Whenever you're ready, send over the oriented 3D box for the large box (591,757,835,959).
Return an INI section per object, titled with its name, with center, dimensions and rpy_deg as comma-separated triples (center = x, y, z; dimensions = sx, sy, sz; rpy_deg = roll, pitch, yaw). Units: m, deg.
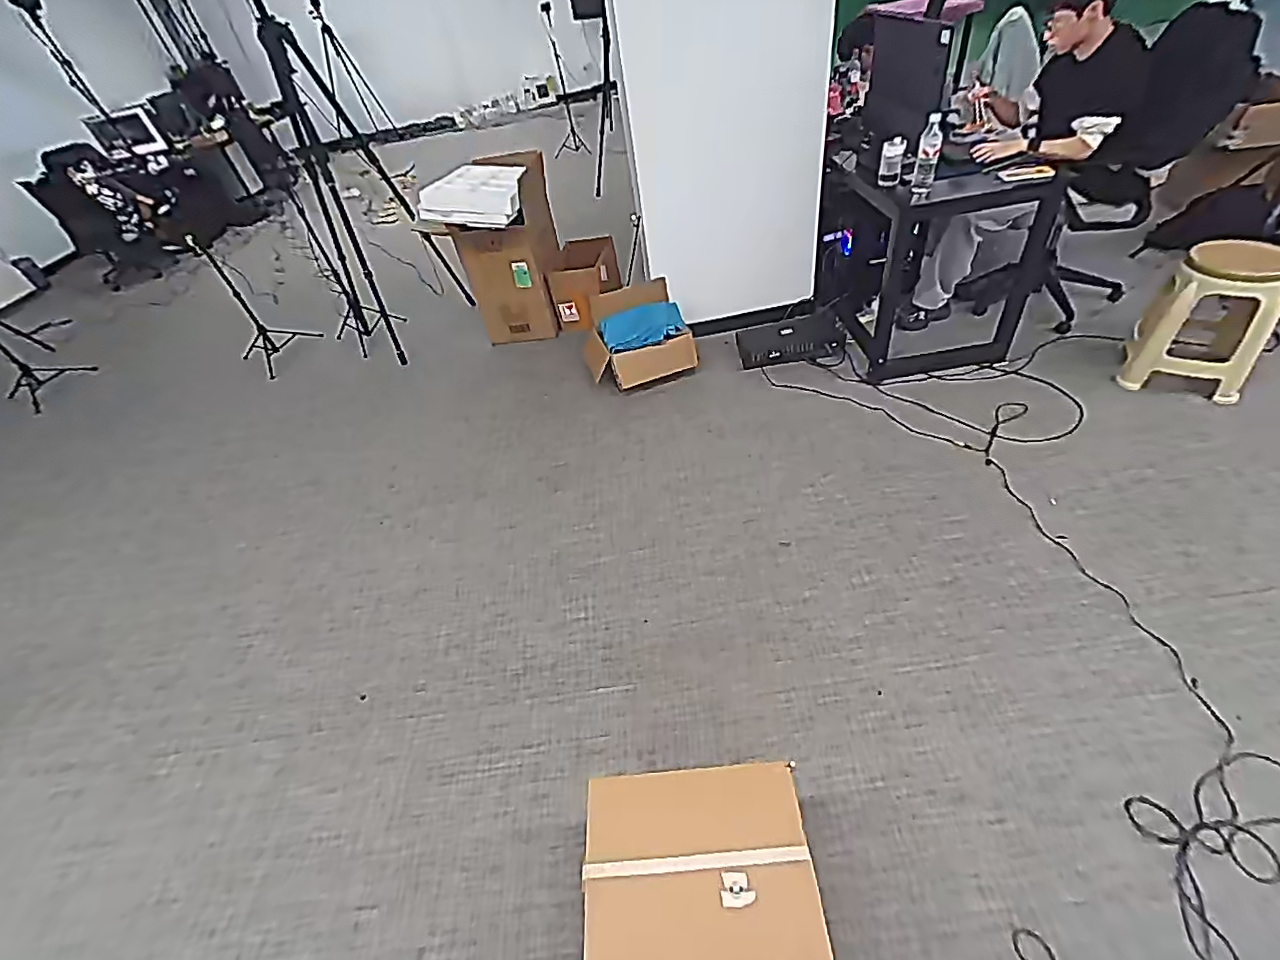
[large box]
center = 0.127, 0.788, 1.073
dimensions = 0.408, 0.320, 0.320
rpy_deg = -7, 44, 4
